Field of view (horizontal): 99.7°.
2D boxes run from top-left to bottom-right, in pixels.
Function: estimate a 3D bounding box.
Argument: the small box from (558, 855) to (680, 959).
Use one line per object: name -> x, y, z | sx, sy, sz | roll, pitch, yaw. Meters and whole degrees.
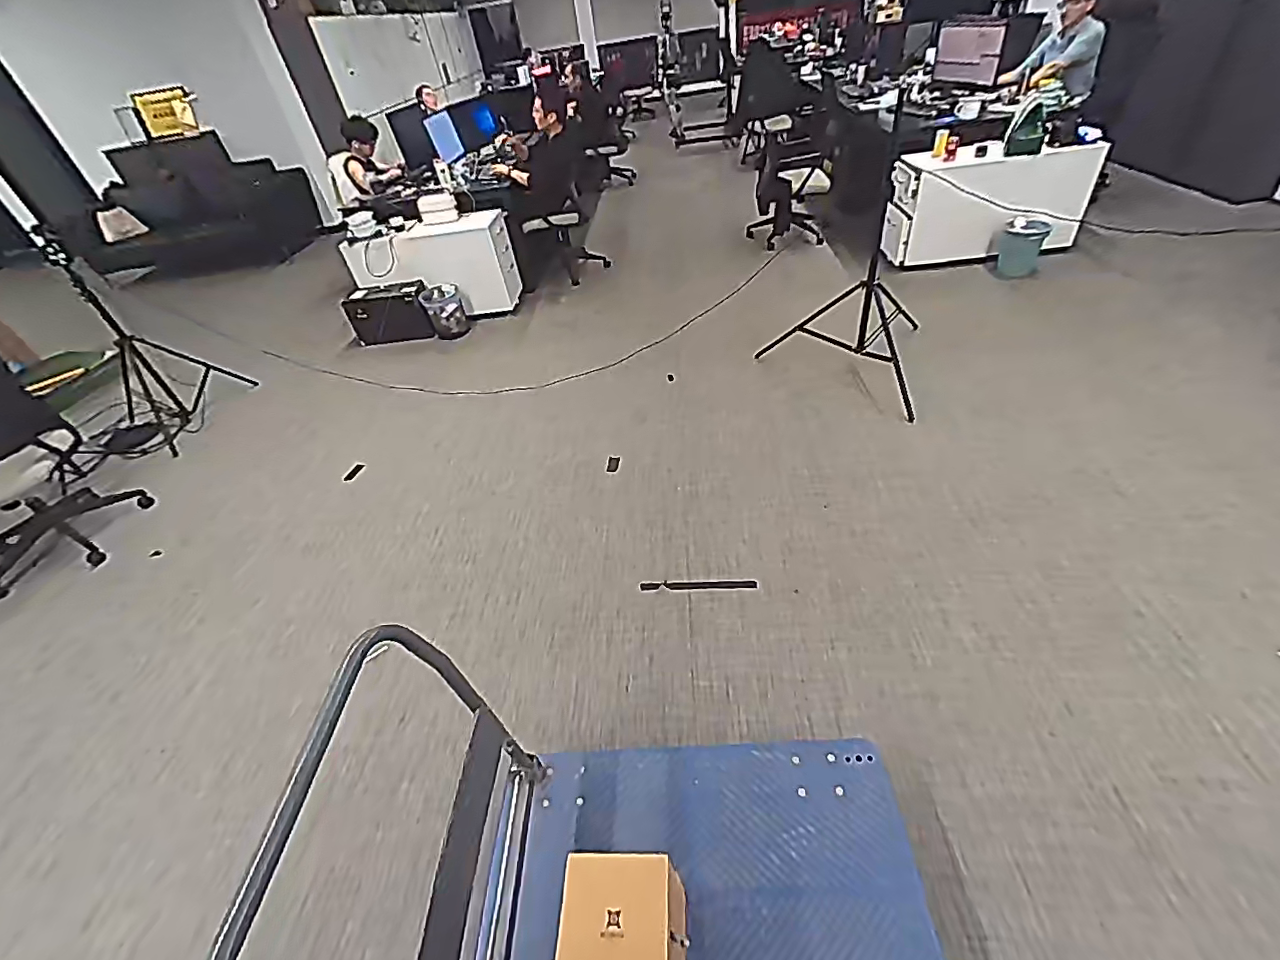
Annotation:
small box -> -0.026, 0.715, 0.847 | 0.168, 0.176, 0.179 | -4, 42, 6
